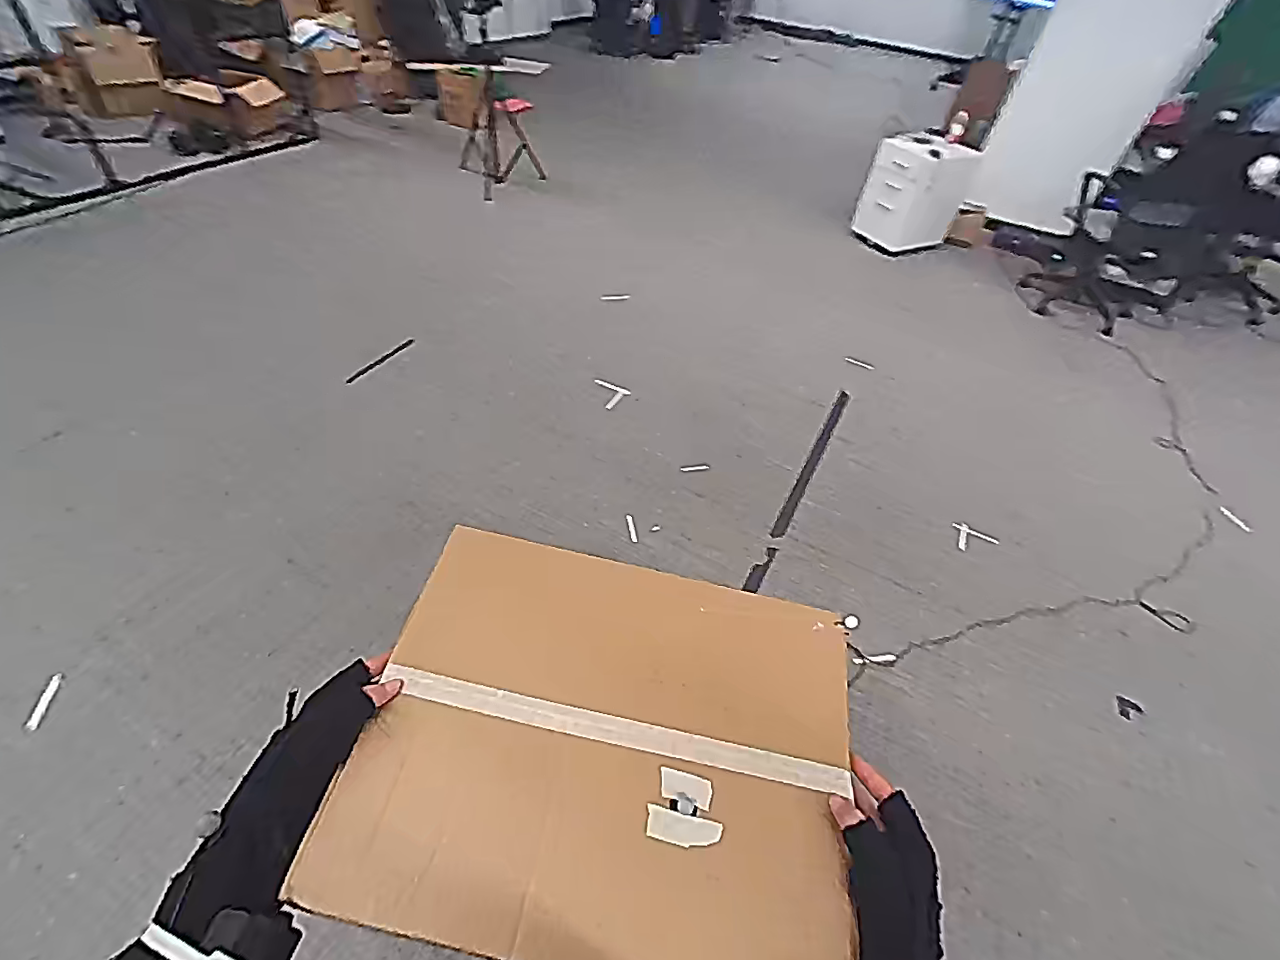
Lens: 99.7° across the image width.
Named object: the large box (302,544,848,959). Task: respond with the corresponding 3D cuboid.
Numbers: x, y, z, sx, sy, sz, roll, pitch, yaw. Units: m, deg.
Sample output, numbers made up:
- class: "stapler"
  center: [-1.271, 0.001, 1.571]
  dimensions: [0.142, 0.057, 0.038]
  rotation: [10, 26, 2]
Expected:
- class: "large box"
  center: [-0.039, 0.313, 0.584]
  dimensions: [0.408, 0.320, 0.320]
  rotation: [13, 53, 1]
